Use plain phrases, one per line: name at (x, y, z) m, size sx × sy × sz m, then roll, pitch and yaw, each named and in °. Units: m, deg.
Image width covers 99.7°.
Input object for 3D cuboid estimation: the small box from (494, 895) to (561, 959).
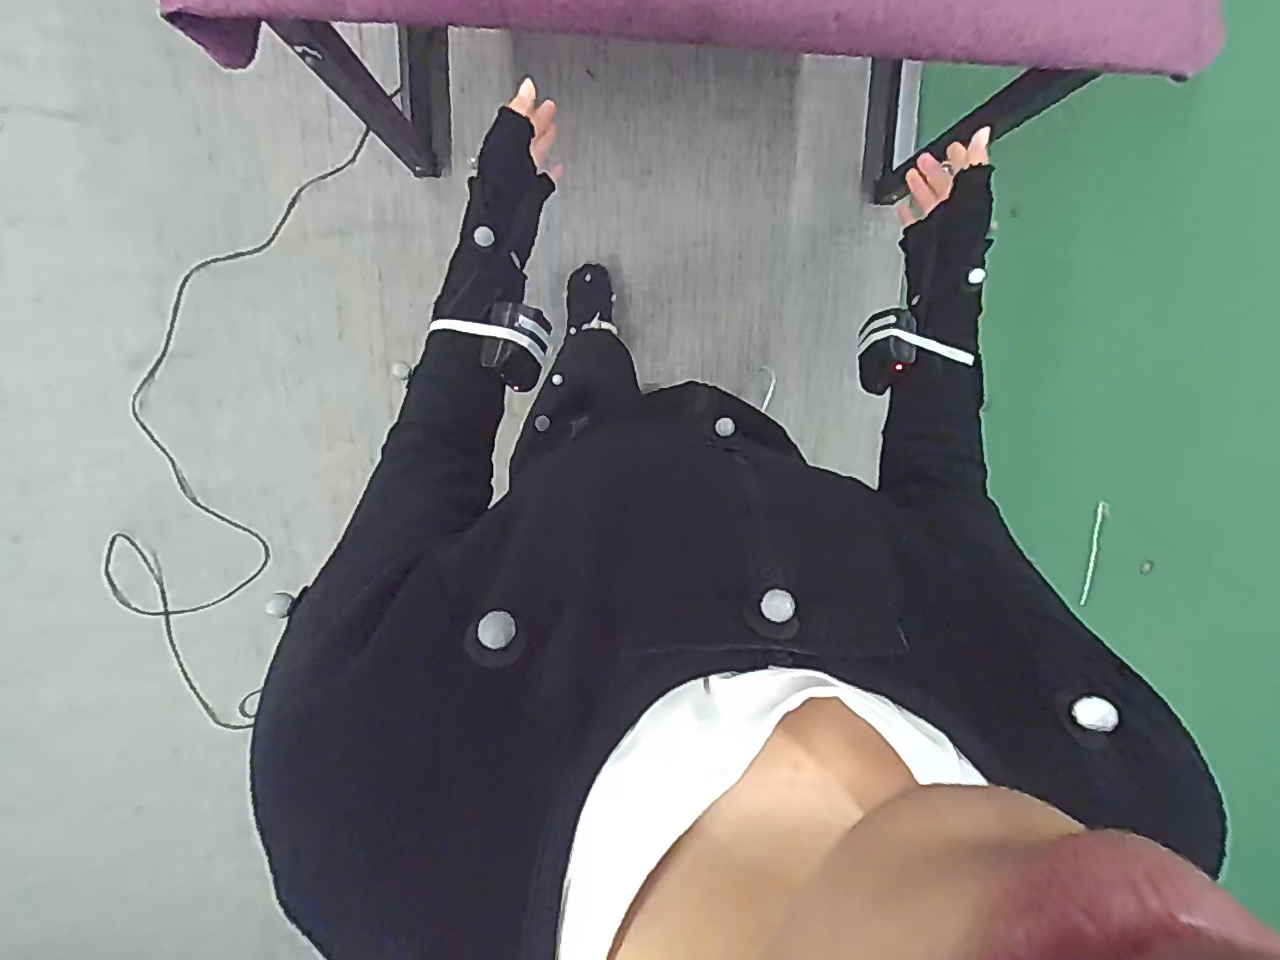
small box at (-0.328, 1.374, 1.600) m, size 0.168 × 0.176 × 0.179 m, roll -7°, pitch 102°, yaw -4°
